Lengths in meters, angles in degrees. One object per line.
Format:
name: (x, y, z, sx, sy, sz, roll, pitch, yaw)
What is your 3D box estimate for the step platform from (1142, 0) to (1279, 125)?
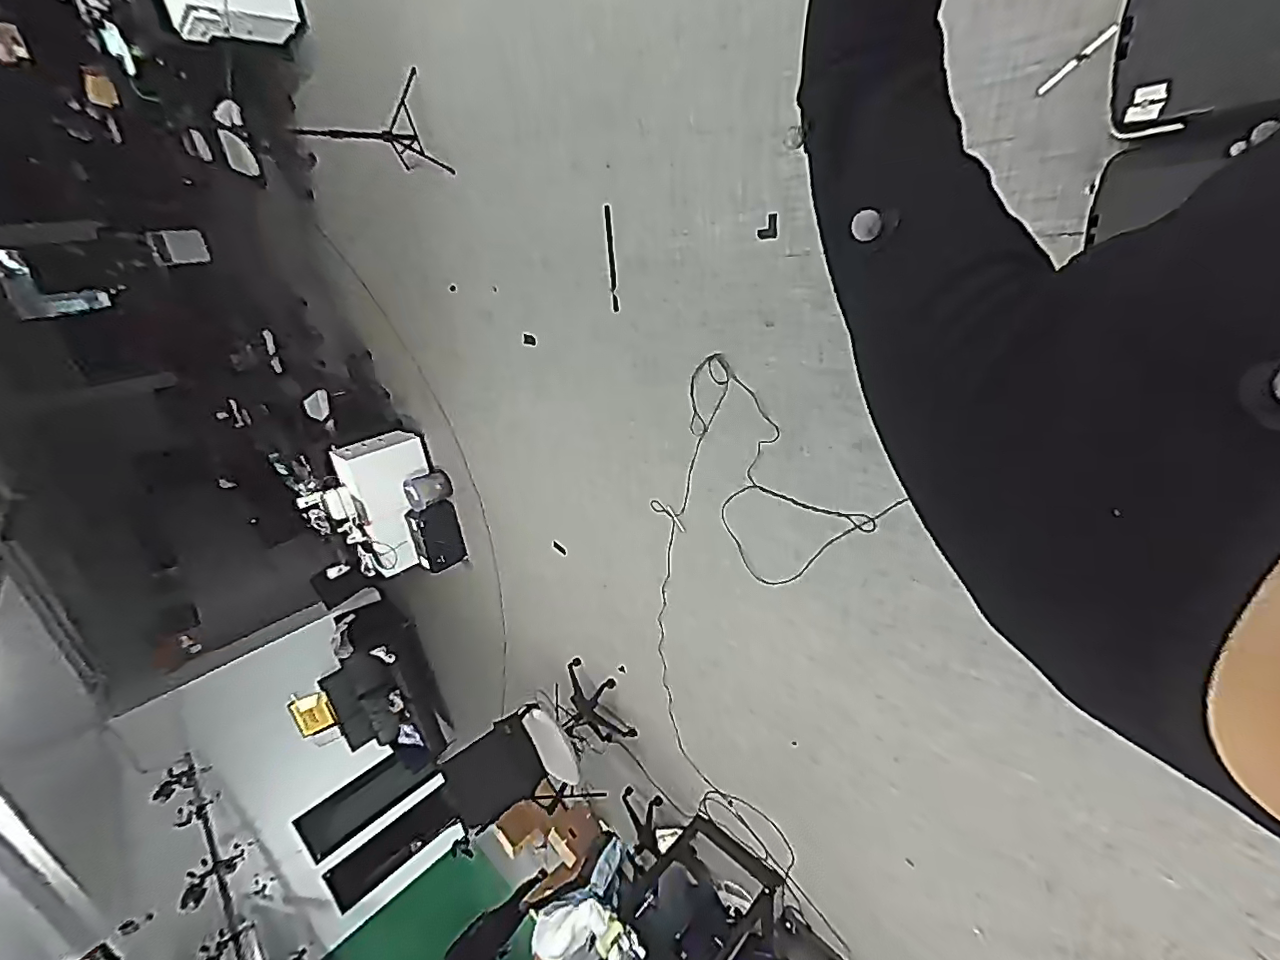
step platform: (1.131, -0.717, 0.714, 0.684, 0.204, 0.286, 14, 121, 43)
